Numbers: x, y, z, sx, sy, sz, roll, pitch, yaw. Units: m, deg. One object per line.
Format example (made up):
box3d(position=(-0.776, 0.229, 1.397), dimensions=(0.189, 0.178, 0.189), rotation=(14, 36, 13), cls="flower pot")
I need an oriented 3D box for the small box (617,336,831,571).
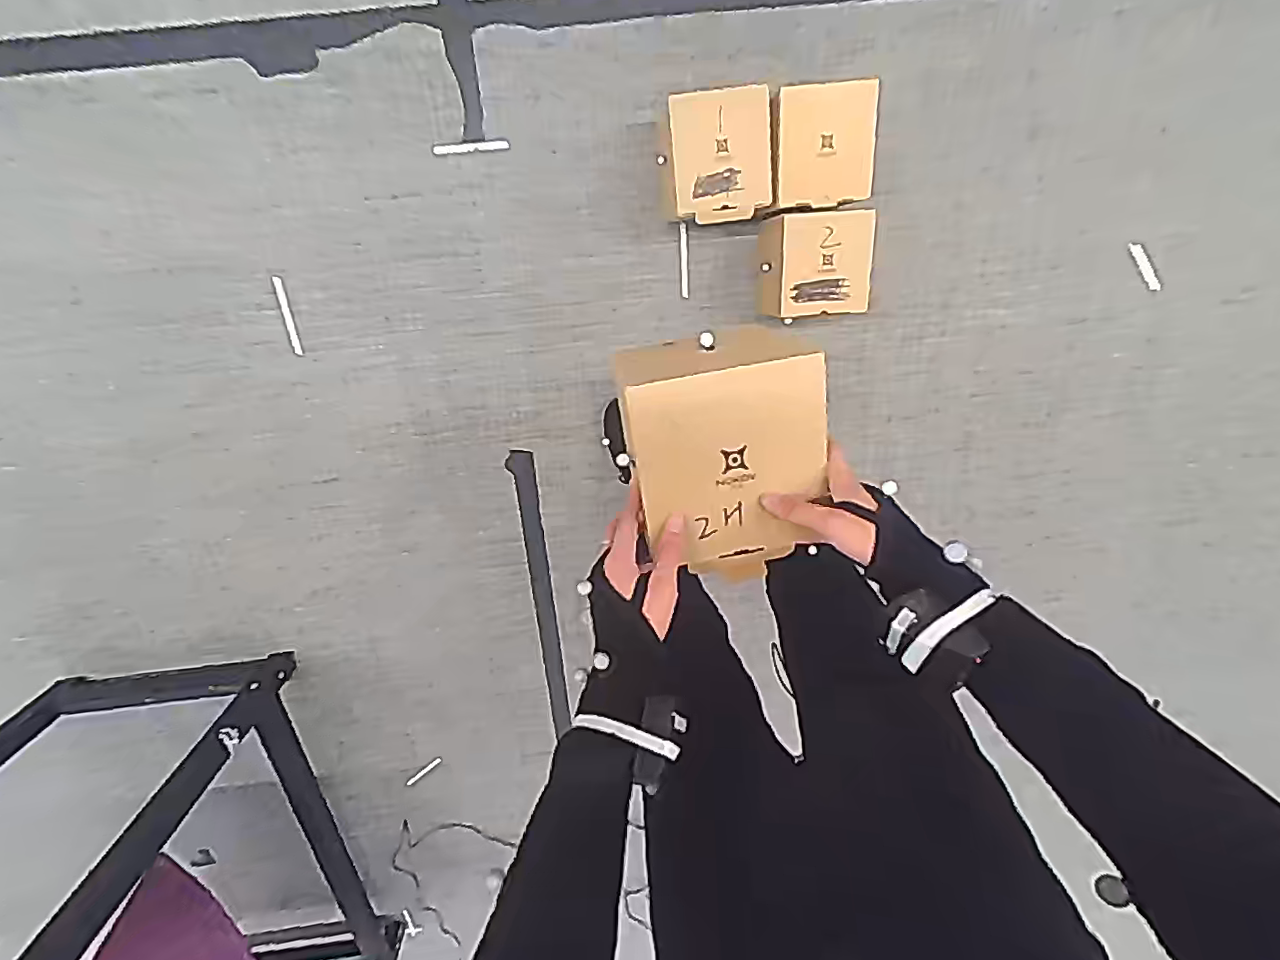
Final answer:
box3d(position=(0.073, -0.039, 0.533), dimensions=(0.168, 0.176, 0.179), rotation=(-10, 114, -3), cls="small box")
